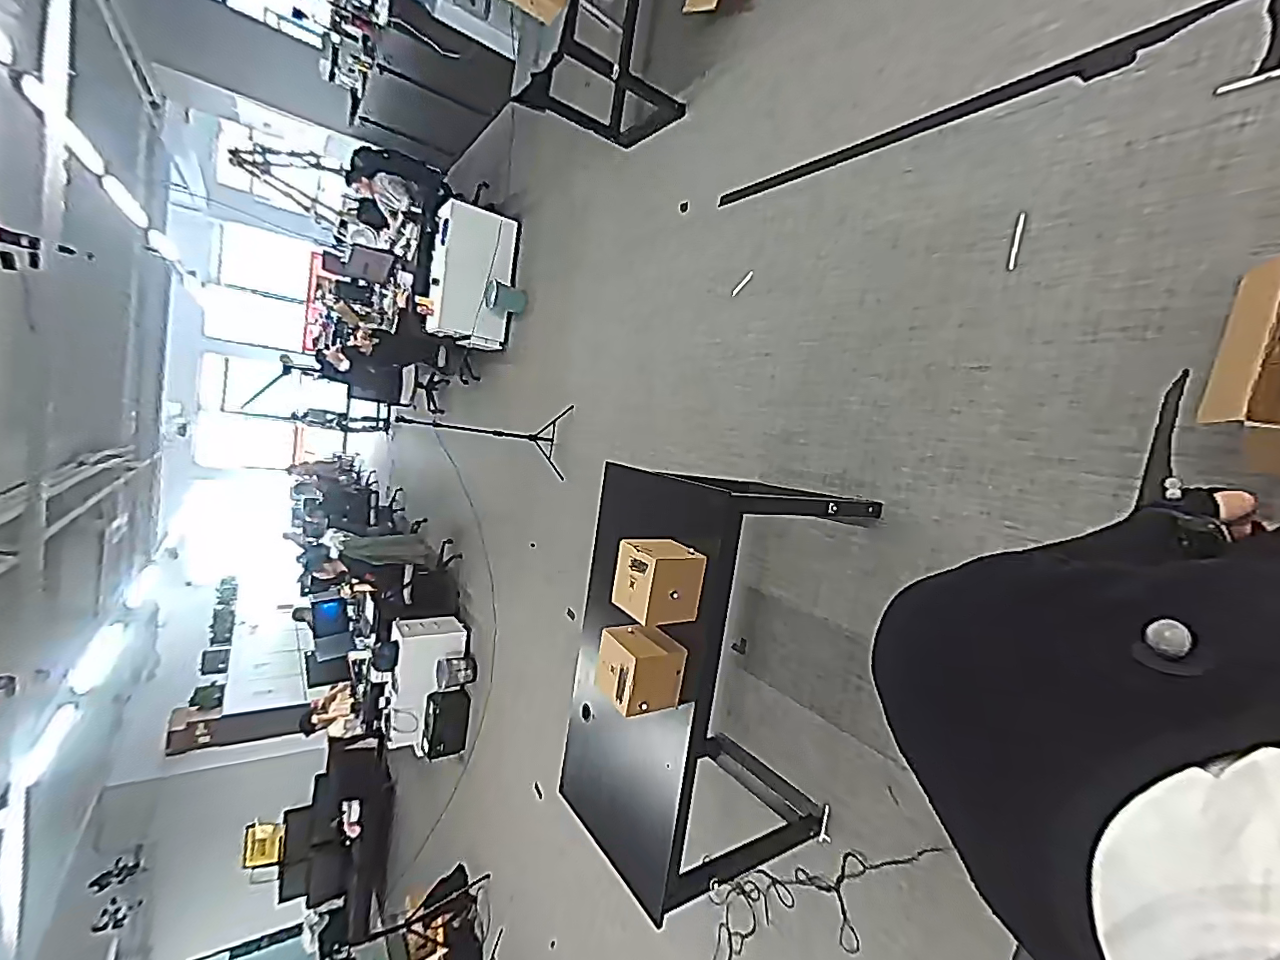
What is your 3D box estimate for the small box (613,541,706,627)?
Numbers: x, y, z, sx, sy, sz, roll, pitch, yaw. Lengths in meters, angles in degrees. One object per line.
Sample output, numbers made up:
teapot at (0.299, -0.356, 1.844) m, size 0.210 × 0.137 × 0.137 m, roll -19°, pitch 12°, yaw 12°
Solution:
small box at (0.053, 0.265, 1.420) m, size 0.168 × 0.176 × 0.179 m, roll 20°, pitch 104°, yaw 55°
